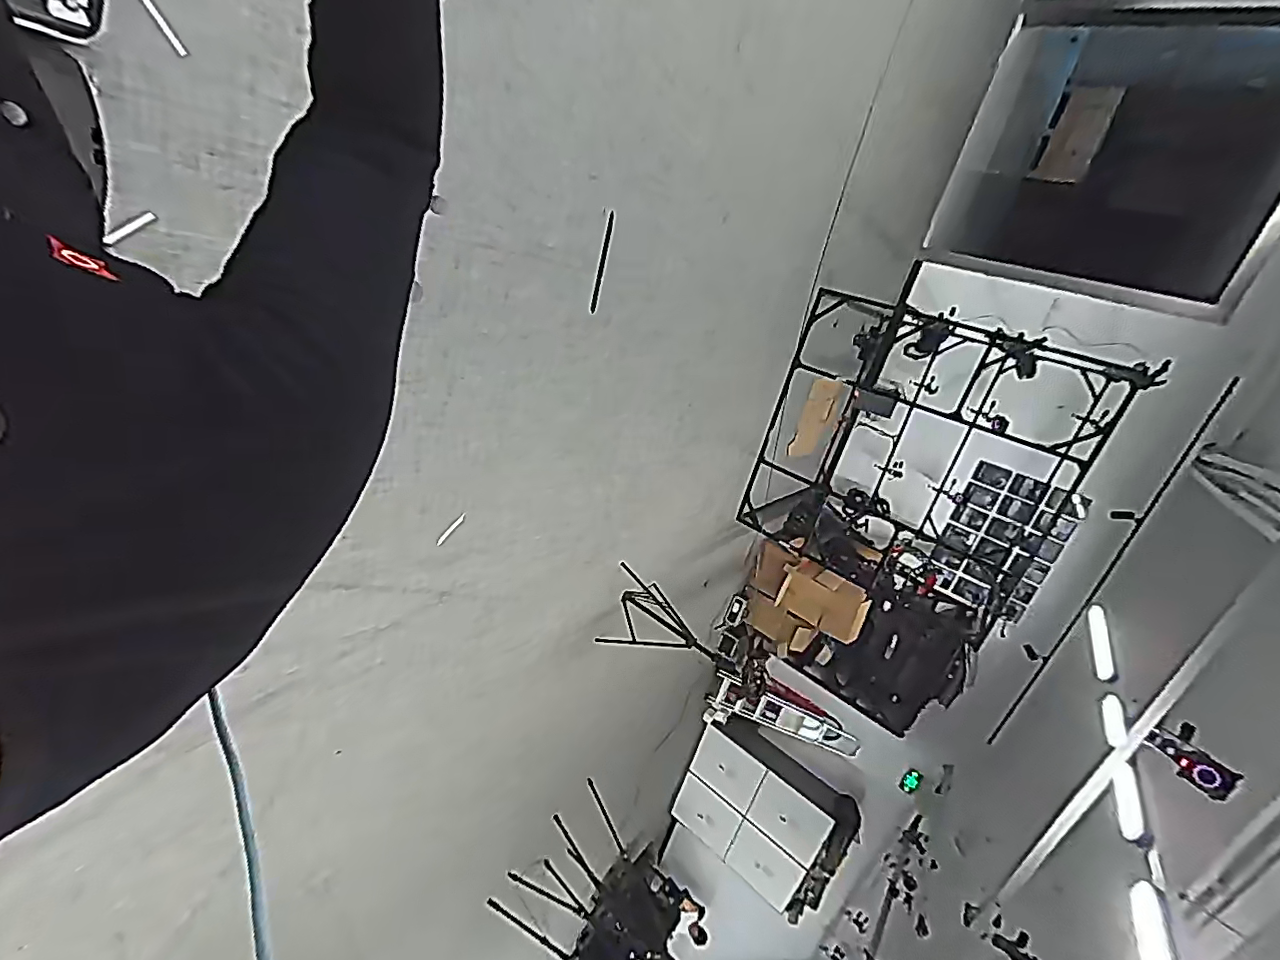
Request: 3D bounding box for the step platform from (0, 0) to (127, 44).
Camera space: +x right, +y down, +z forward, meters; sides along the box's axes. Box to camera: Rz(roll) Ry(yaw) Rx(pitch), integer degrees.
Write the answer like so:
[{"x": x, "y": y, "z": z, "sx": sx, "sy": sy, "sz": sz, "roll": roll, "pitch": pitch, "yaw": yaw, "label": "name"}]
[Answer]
[{"x": -1.082, "y": -0.827, "z": 0.643, "sx": 0.684, "sy": 0.204, "sz": 0.286, "roll": -18, "pitch": 129, "yaw": -52, "label": "step platform"}]
